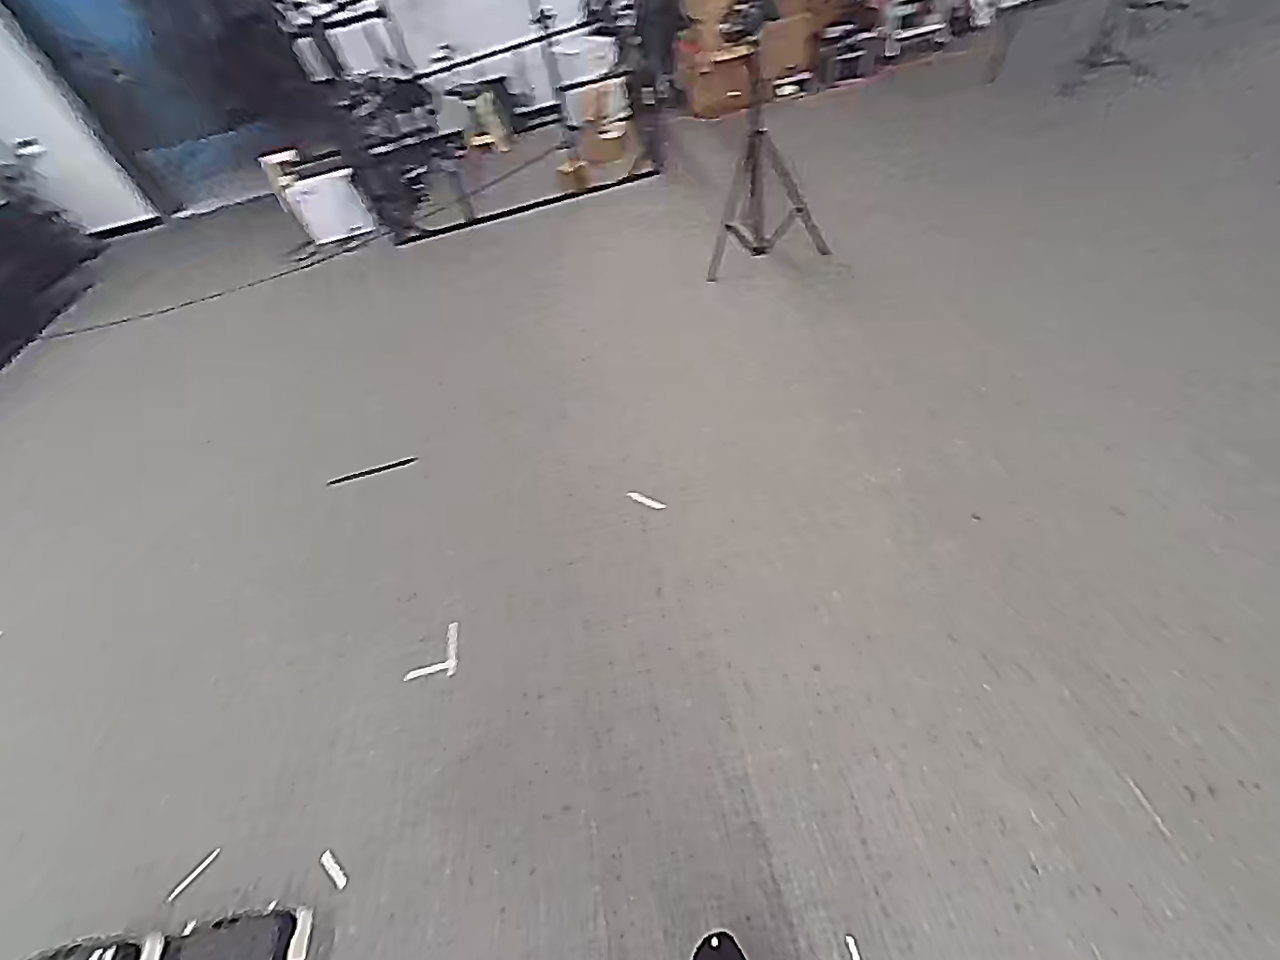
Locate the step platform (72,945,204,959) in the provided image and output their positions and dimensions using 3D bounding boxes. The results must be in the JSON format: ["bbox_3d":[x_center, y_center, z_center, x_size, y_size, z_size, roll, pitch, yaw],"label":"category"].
[{"bbox_3d":[-1.112,1.306,0.991,0.286,0.204,0.684,-15,46,1],"label":"step platform"}]
